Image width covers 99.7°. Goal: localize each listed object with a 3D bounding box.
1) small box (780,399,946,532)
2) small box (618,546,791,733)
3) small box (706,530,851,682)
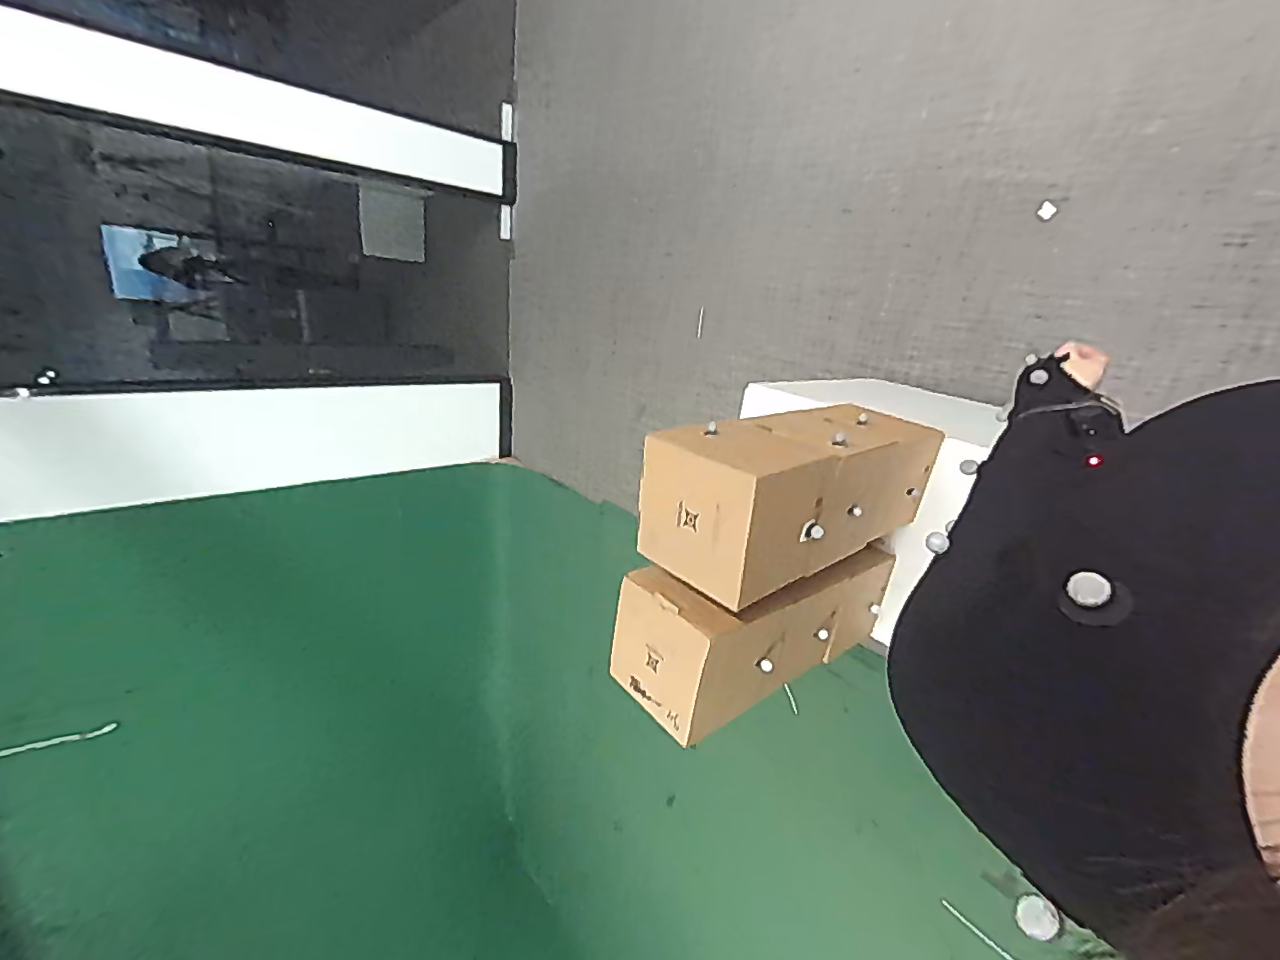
[{"bbox_3d":[0.371,-0.036,0.908,0.179,0.176,0.168,30,121,42],"label":"small box"},{"bbox_3d":[0.093,0.214,0.779,0.168,0.176,0.179,30,118,43],"label":"small box"},{"bbox_3d":[0.212,0.193,0.892,0.179,0.176,0.168,29,119,43],"label":"small box"}]
